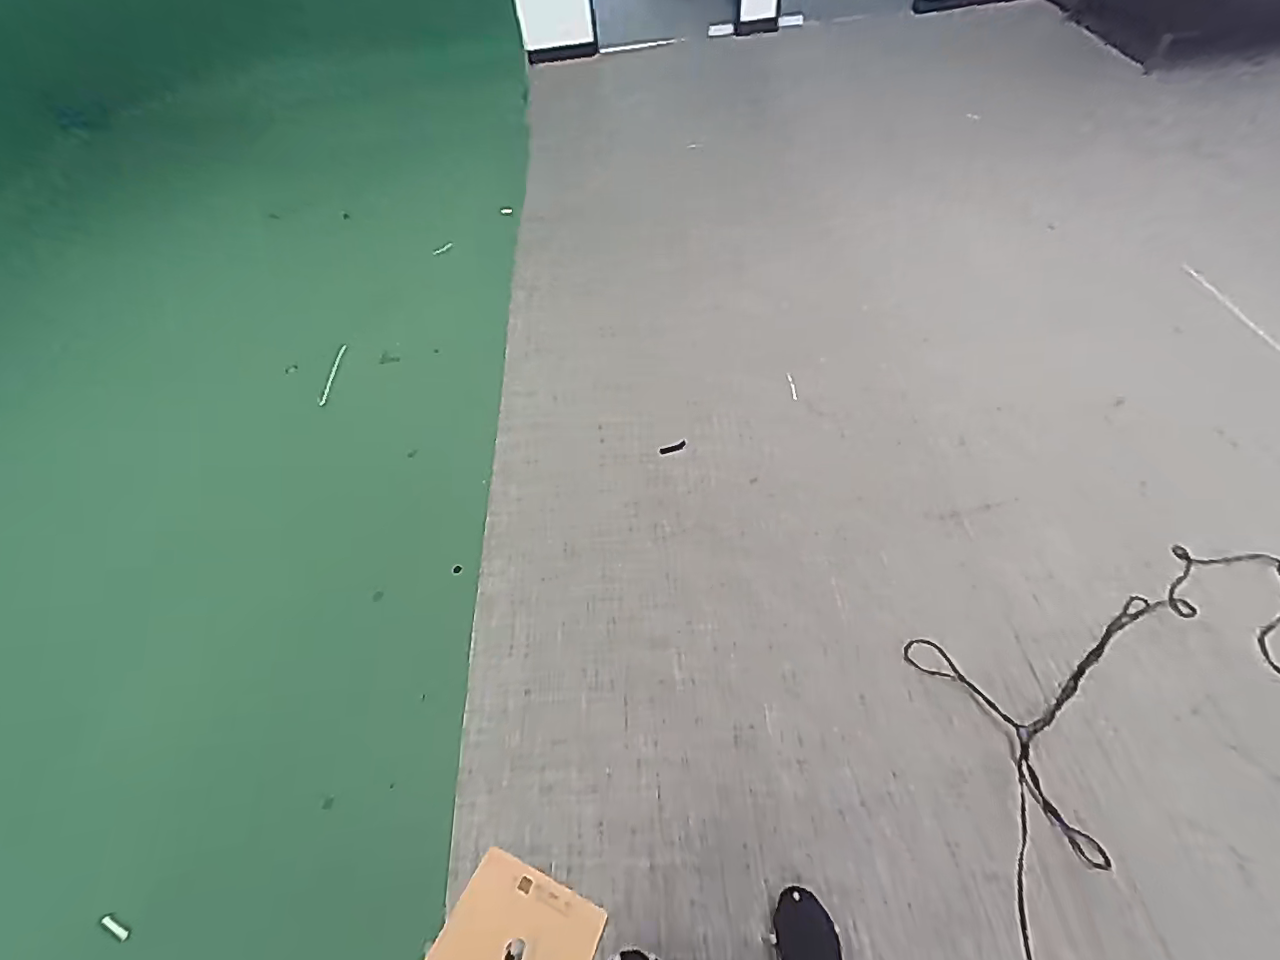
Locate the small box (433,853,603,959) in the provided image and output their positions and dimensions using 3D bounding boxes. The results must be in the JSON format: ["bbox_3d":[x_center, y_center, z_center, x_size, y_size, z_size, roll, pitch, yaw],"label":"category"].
[{"bbox_3d":[-0.158,0.584,0.633,0.168,0.179,0.176,25,34,7],"label":"small box"}]
